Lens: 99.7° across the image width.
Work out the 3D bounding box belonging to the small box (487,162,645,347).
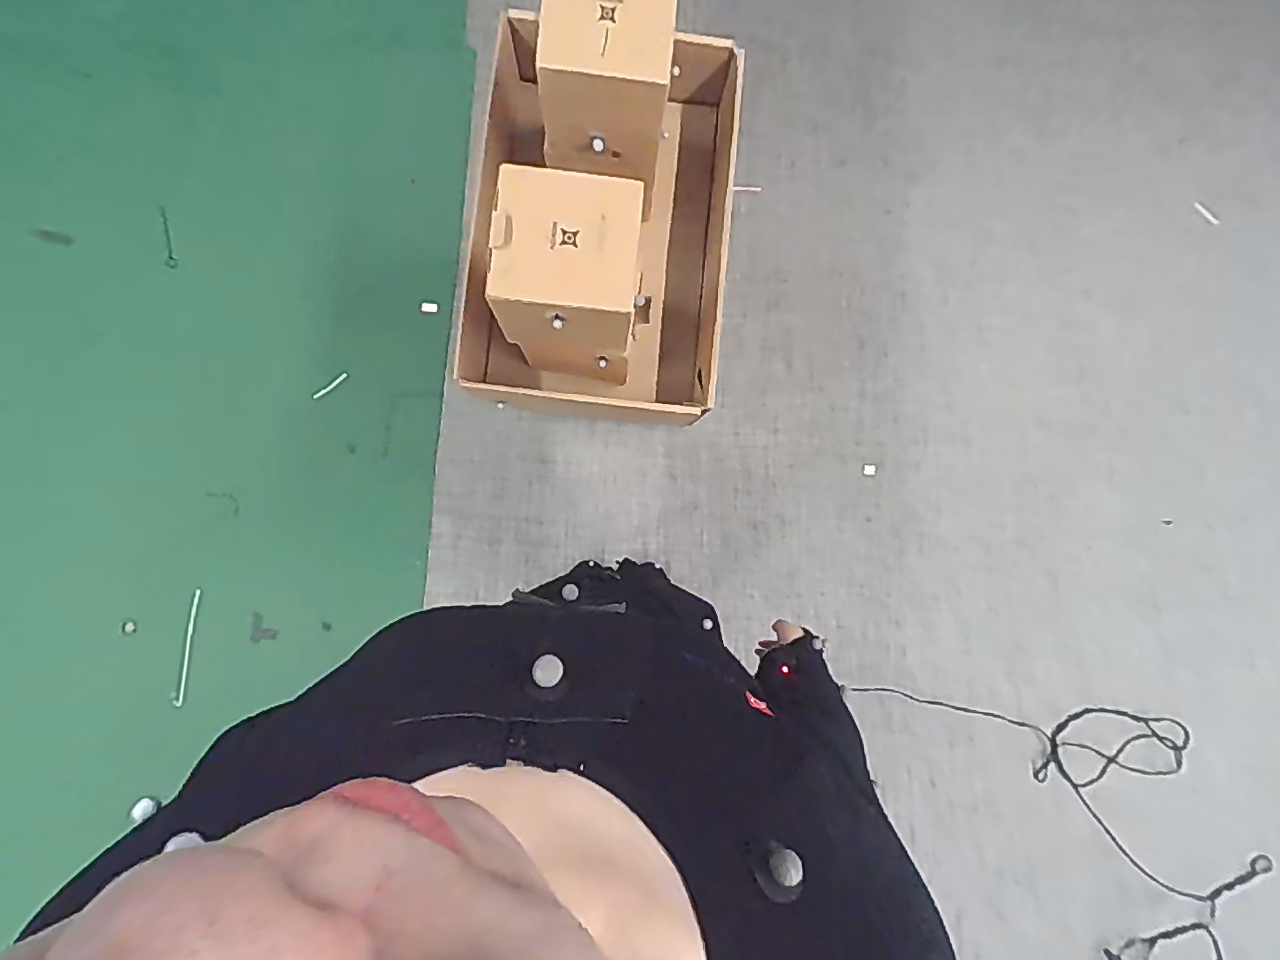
[{"bbox_3d":[-0.093,-0.286,0.723,0.179,0.176,0.168,5,87,-5],"label":"small box"}]

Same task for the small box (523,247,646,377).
[{"bbox_3d":[-0.095,-0.278,0.885,0.179,0.176,0.168,9,85,-4],"label":"small box"}]

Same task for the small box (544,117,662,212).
[{"bbox_3d":[-0.054,-0.572,0.901,0.179,0.176,0.168,7,88,-3],"label":"small box"}]

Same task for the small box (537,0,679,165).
[{"bbox_3d":[-0.041,-0.575,0.738,0.168,0.176,0.179,6,88,-4],"label":"small box"}]
